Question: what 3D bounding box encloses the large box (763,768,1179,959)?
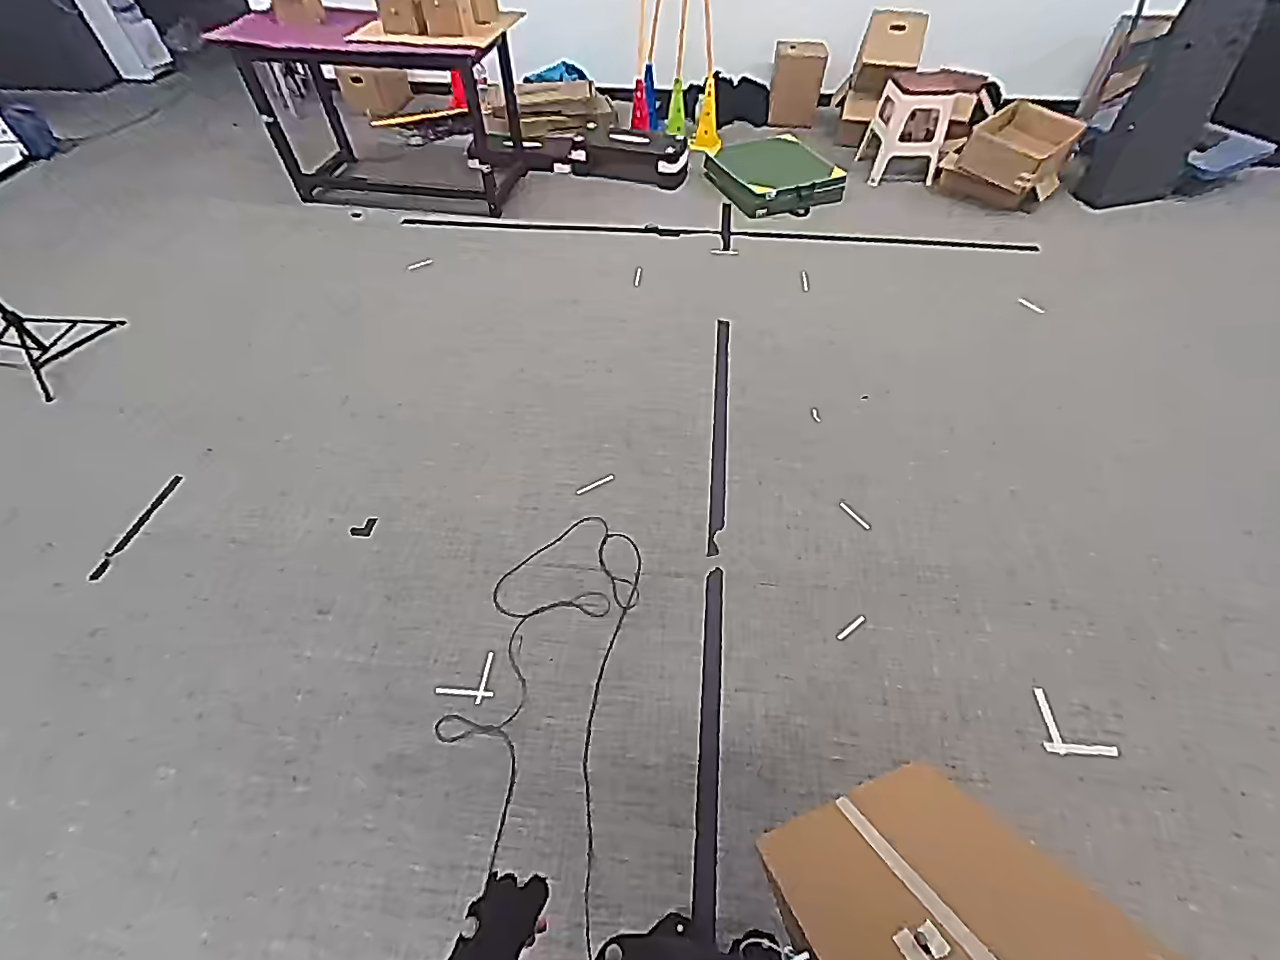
[{"bbox_3d":[0.415,0.668,0.692,0.320,0.408,0.320,-21,93,-8],"label":"large box"}]
